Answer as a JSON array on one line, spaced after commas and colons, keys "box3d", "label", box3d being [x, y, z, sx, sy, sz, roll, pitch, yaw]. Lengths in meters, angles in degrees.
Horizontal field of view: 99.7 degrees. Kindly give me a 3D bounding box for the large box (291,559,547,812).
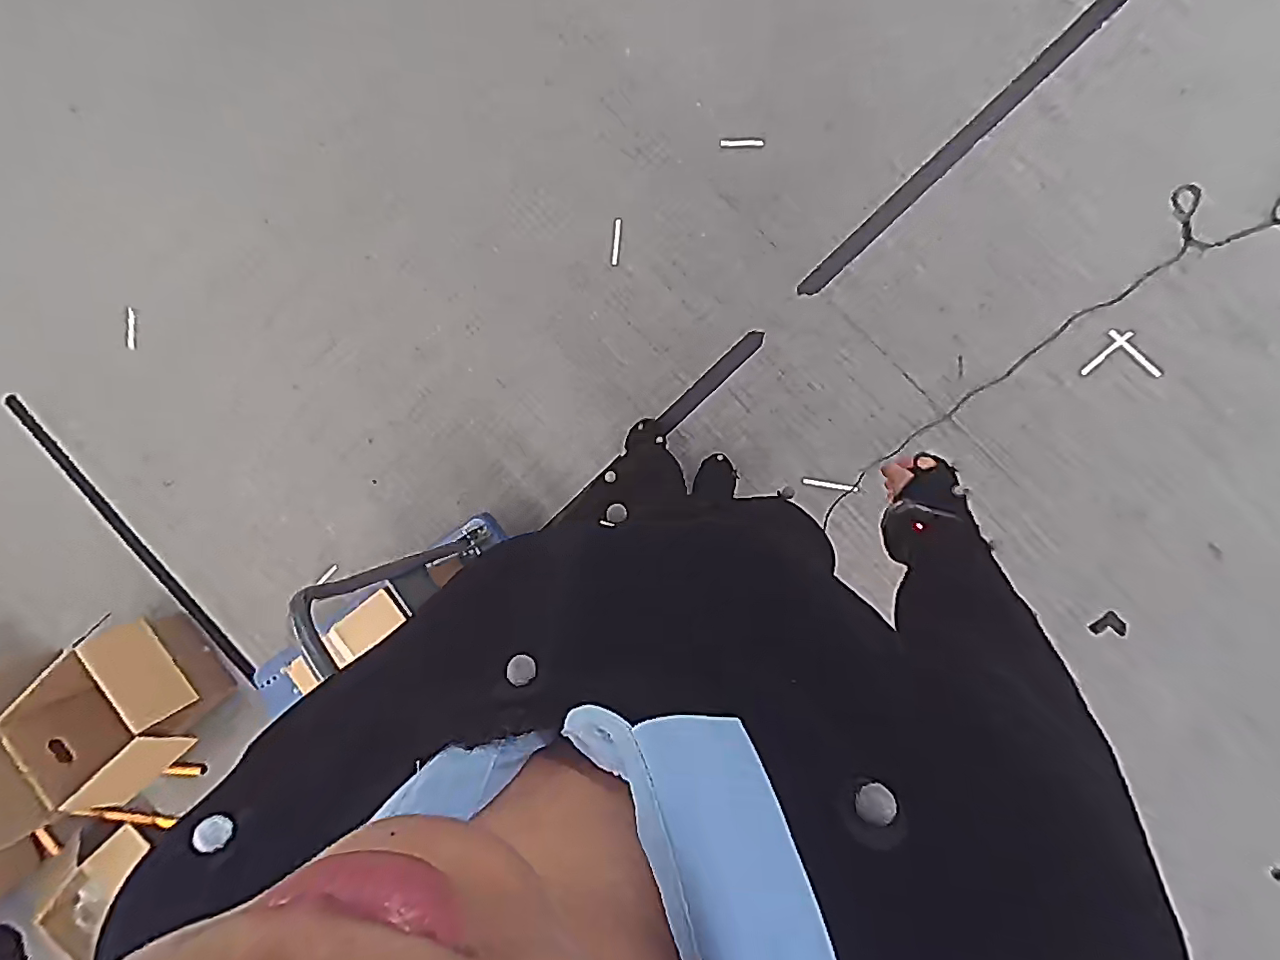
[{"box3d": [-0.497, 0.459, 1.284, 0.320, 0.320, 0.408, -38, 87, 9], "label": "large box"}]
